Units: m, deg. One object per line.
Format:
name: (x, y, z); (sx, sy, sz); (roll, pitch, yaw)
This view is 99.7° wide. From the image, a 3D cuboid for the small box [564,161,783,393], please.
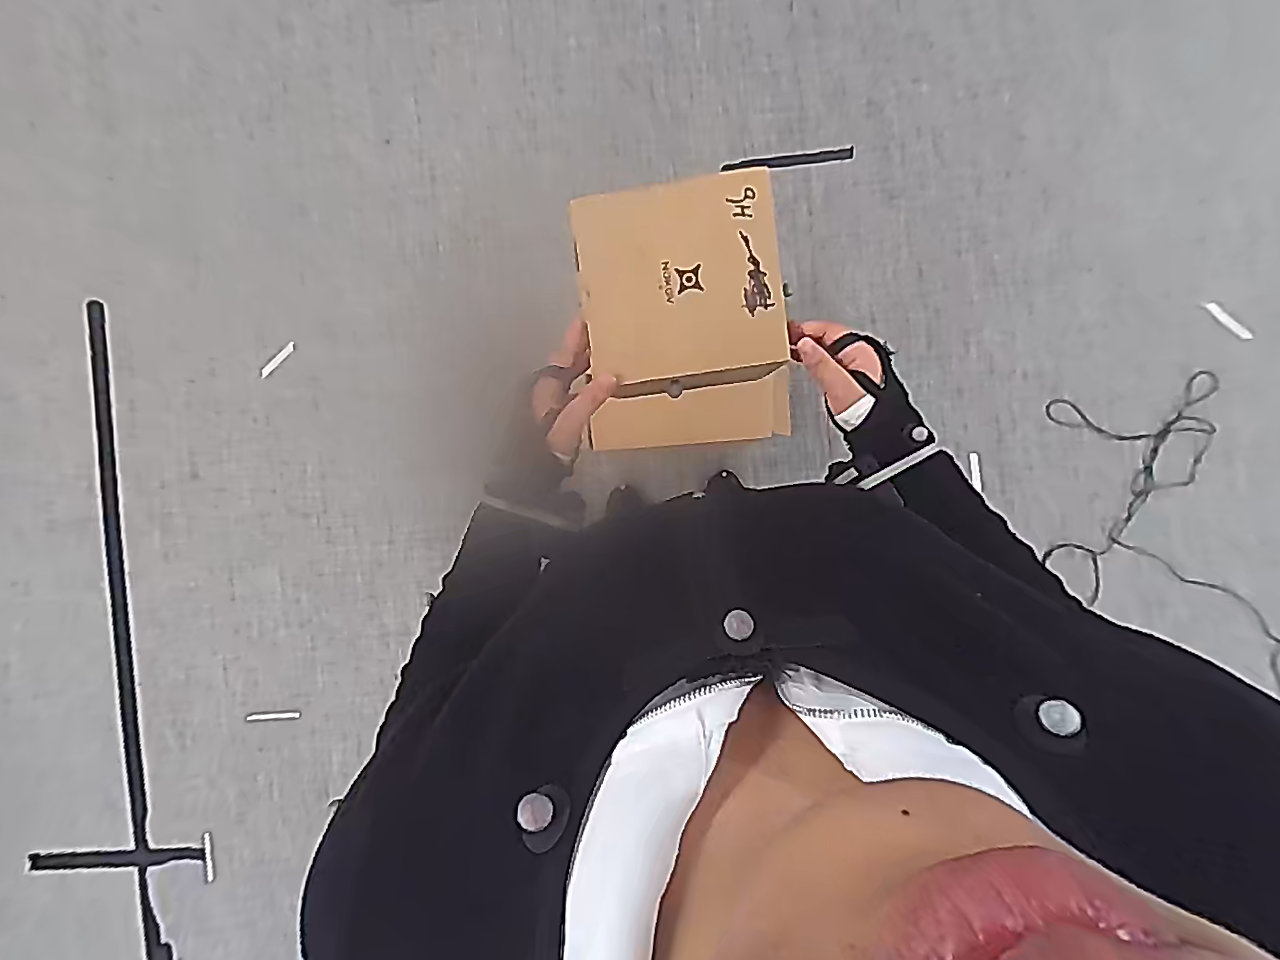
small box: (0.036, -0.185, 0.548); (0.179, 0.176, 0.168); (-8, 95, 5)
